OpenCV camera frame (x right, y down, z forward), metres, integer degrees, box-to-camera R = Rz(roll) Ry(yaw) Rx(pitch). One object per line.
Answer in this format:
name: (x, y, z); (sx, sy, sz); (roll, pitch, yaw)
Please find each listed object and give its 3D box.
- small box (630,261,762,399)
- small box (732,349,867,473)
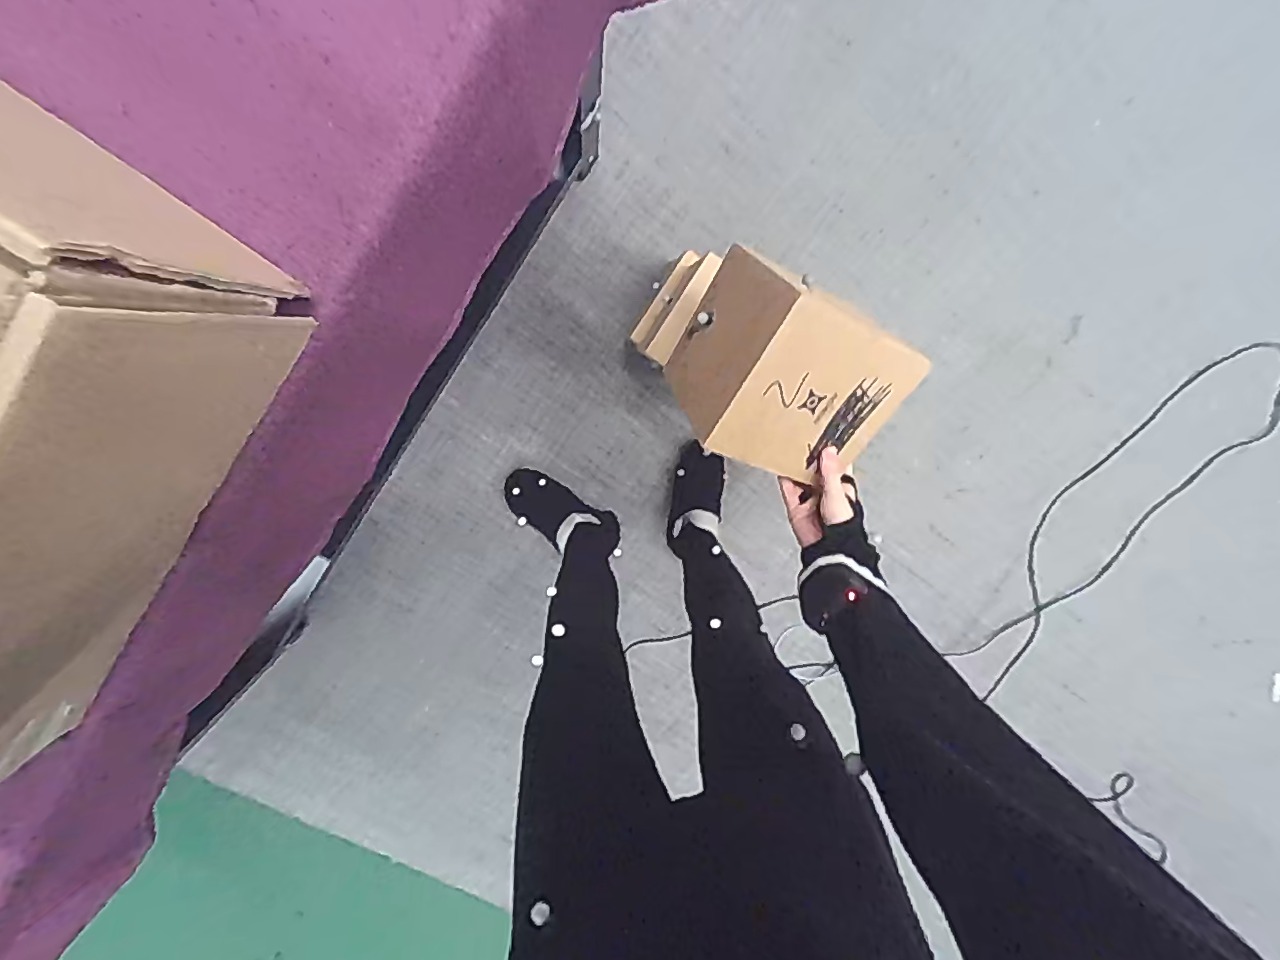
small box: (0.092, -0.276, 1.007); (0.168, 0.176, 0.179); (33, 101, -12)
small box: (0.298, -0.140, 1.061); (0.168, 0.176, 0.179); (29, 100, -11)
